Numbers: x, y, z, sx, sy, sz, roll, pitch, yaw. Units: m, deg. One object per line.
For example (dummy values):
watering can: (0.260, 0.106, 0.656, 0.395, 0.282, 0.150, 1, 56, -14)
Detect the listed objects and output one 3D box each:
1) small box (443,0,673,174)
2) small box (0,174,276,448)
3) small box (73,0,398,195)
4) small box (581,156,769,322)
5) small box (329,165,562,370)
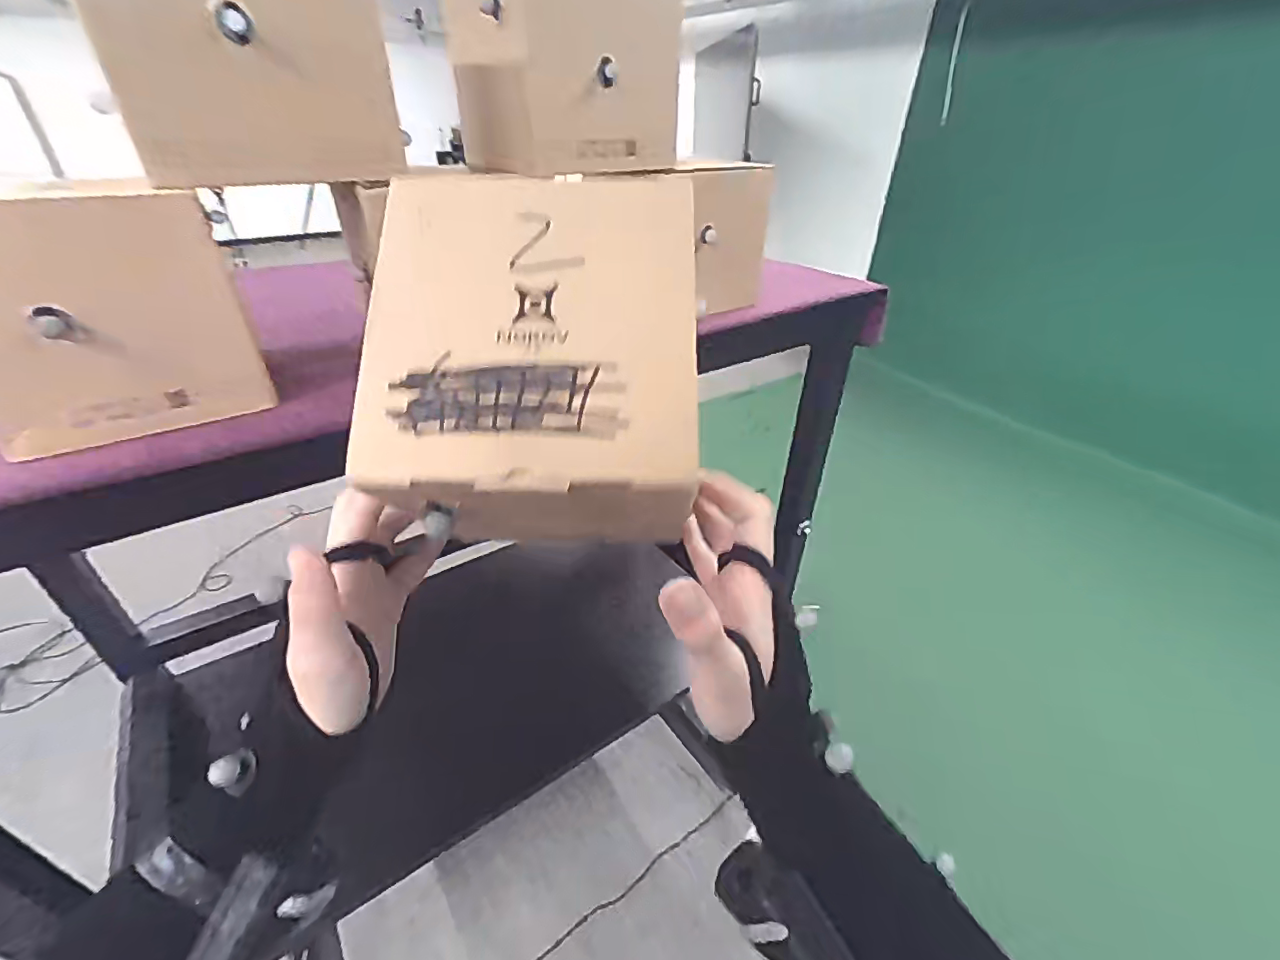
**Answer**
small box: (-0.077, -0.408, 0.544, 0.168, 0.176, 0.179, -22, 40, -30)
small box: (-0.419, -0.140, 0.432, 0.168, 0.176, 0.179, -21, 38, -30)
small box: (-0.306, -0.327, 0.419, 0.179, 0.176, 0.168, -22, 40, -30)
small box: (0.043, -0.317, 0.707, 0.179, 0.176, 0.168, -23, 41, -29)
small box: (-0.197, -0.227, 0.568, 0.179, 0.176, 0.168, -20, 39, -29)
